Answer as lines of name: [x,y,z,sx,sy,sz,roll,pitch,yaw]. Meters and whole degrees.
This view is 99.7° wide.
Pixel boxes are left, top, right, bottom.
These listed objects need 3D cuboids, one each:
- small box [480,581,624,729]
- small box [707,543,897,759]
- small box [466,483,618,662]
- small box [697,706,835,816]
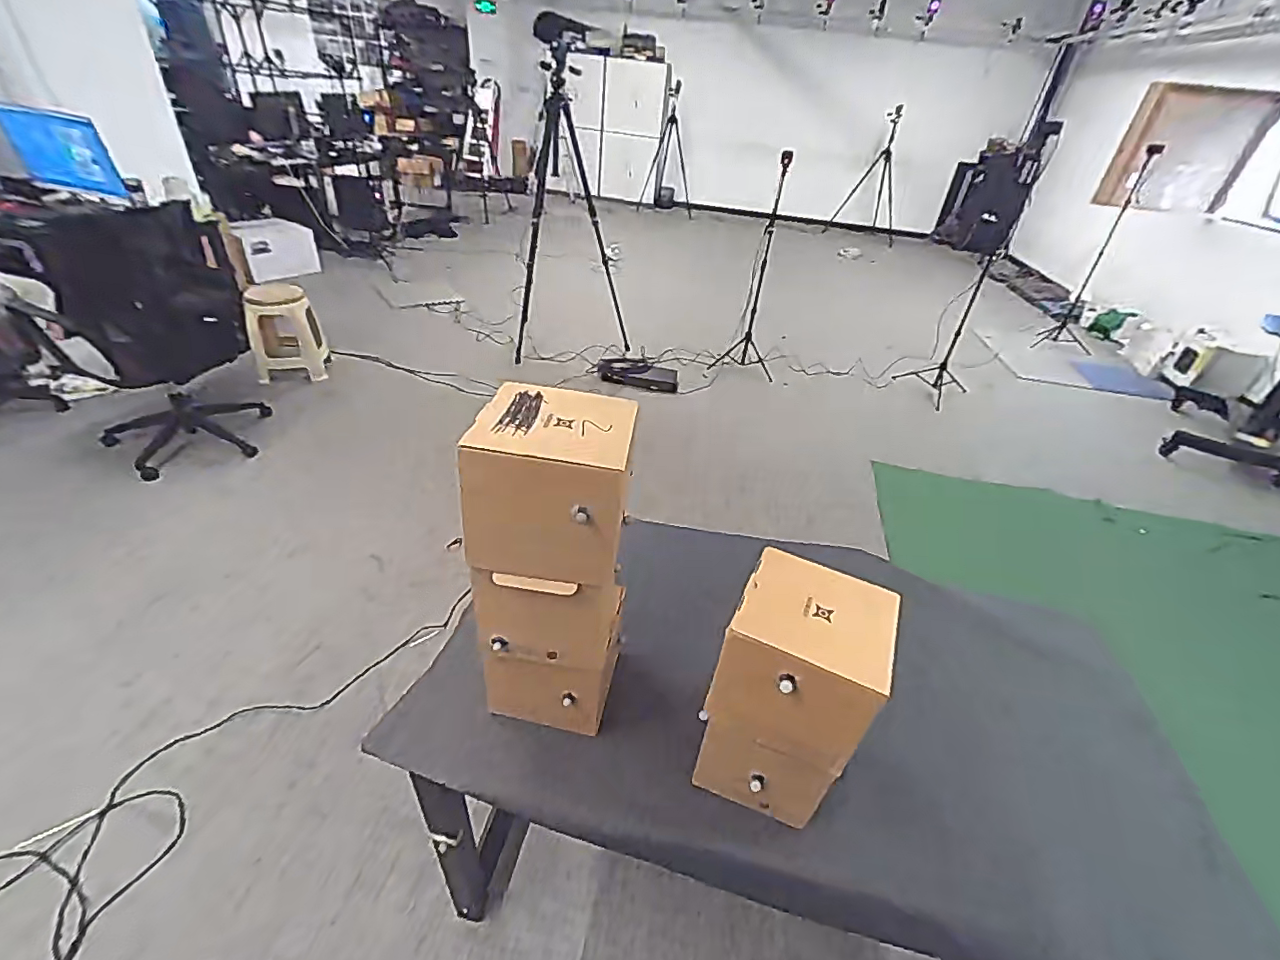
small box: [-0.130,0.263,0.851,0.179,0.176,0.168,9,34,6]
small box: [0.200,0.214,0.681,0.179,0.176,0.168,18,37,19]
small box: [-0.127,0.128,0.757,0.168,0.176,0.179,8,33,2]
small box: [0.185,0.342,0.783,0.168,0.176,0.179,15,37,14]
